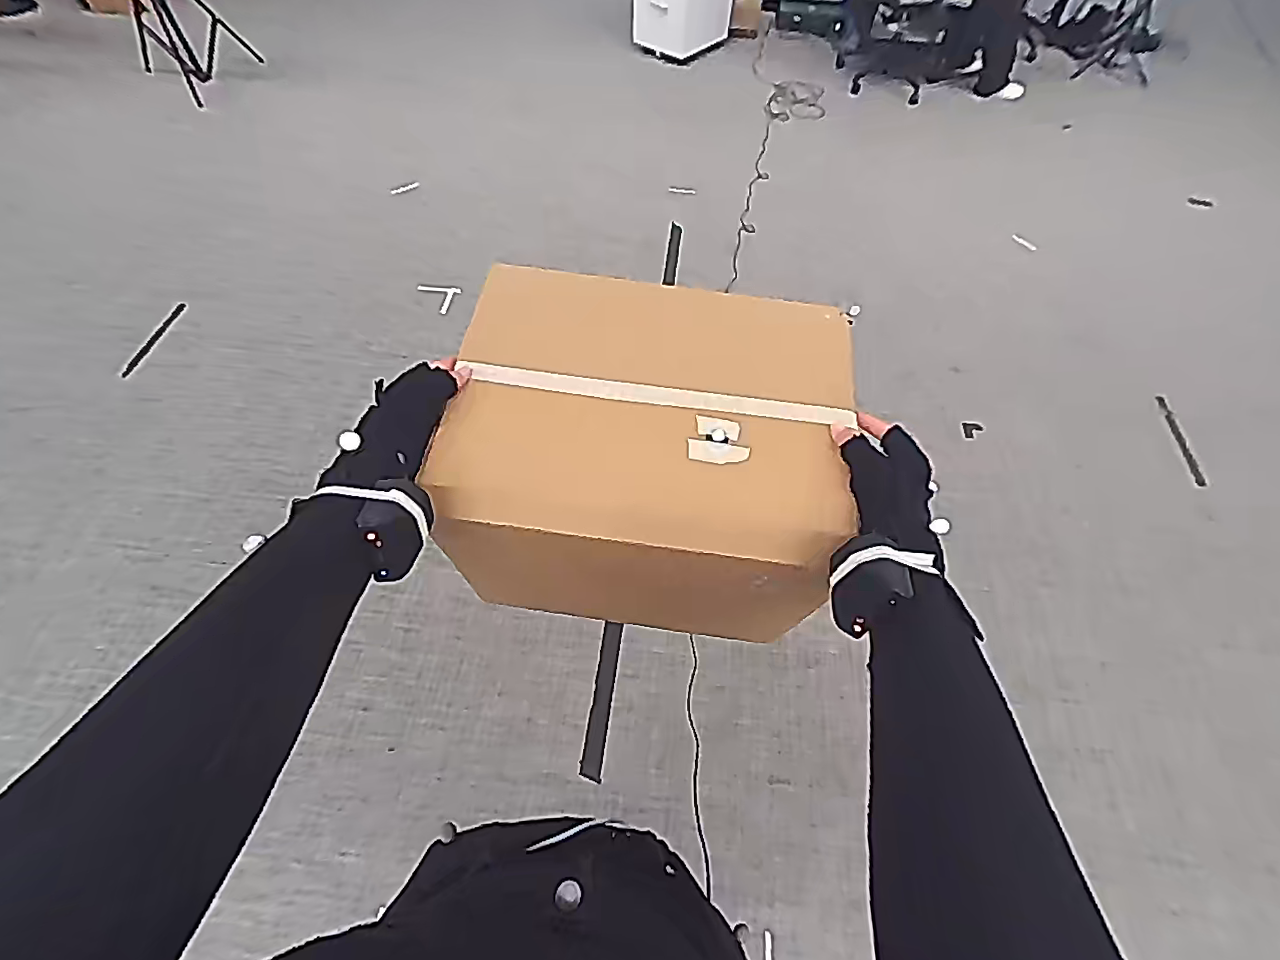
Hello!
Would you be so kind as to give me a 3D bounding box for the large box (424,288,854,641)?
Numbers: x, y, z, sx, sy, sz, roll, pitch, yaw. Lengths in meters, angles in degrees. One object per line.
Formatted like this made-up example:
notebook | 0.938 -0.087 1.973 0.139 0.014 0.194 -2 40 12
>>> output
large box | 0.004 0.000 0.689 0.408 0.320 0.320 7 63 0
